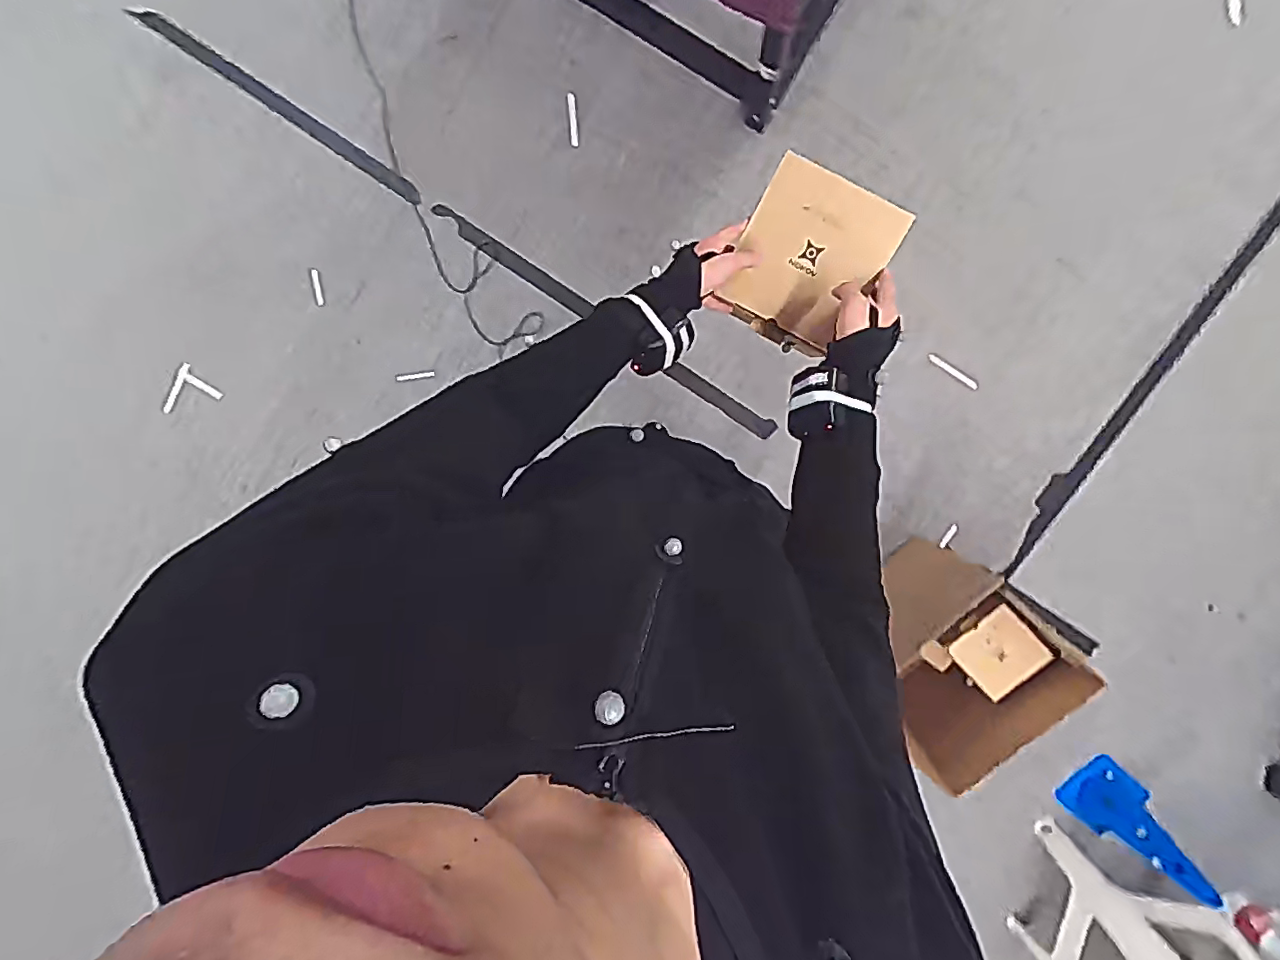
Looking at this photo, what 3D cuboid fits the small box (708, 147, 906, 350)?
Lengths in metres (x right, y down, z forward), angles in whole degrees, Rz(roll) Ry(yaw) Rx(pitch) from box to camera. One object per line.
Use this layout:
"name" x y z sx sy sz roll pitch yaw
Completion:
"small box" 0.205 -0.283 0.708 0.168 0.176 0.179 29 105 2
